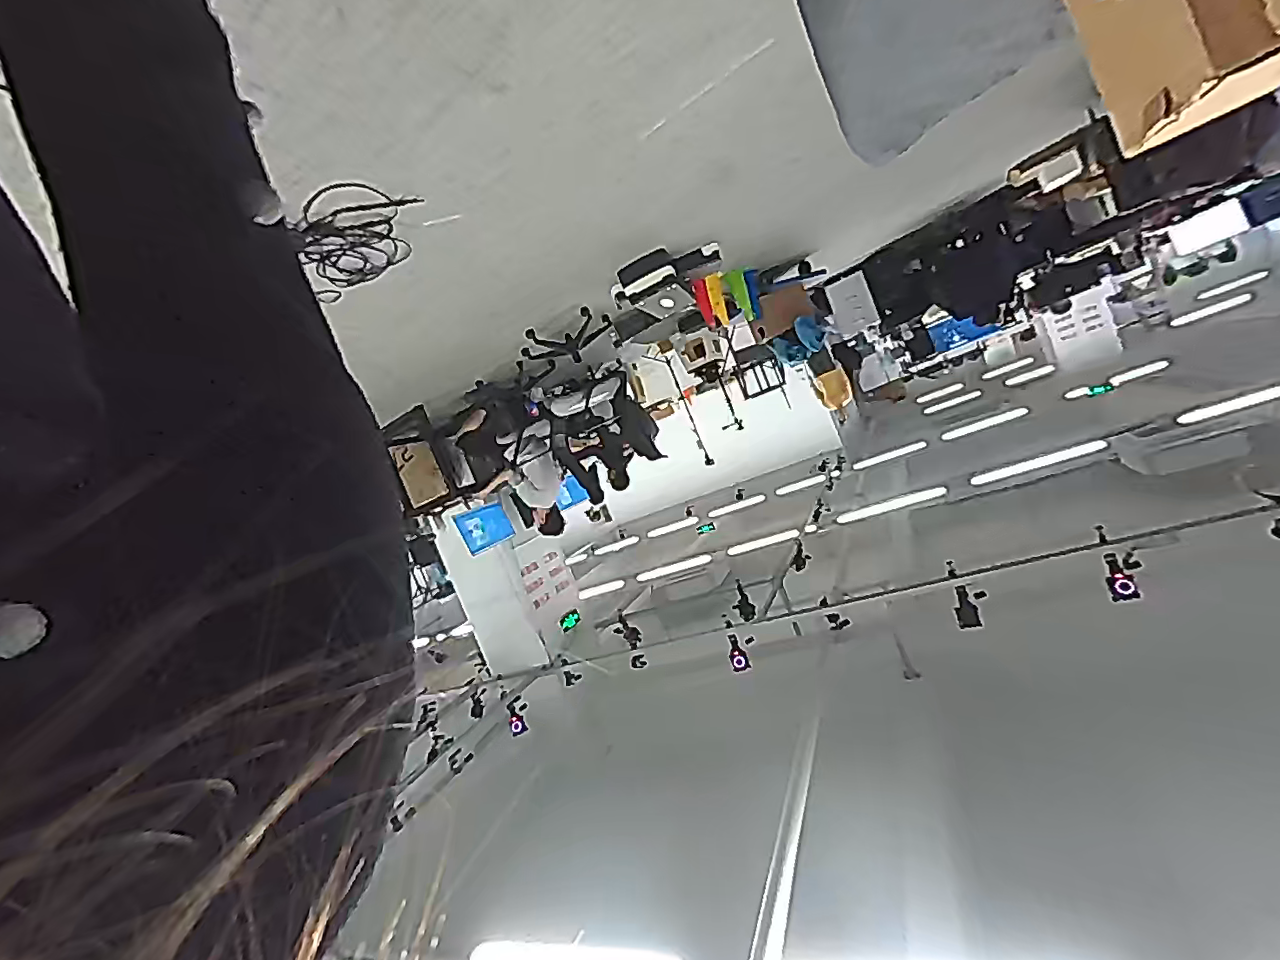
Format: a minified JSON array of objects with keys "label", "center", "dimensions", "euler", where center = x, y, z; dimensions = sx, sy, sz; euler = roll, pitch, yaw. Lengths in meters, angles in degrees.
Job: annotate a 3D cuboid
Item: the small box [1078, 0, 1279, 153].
[{"label":"small box","center":[0.445,-0.377,0.372],"dimensions":[0.179,0.176,0.168],"euler":[-20,-177,30]}]
